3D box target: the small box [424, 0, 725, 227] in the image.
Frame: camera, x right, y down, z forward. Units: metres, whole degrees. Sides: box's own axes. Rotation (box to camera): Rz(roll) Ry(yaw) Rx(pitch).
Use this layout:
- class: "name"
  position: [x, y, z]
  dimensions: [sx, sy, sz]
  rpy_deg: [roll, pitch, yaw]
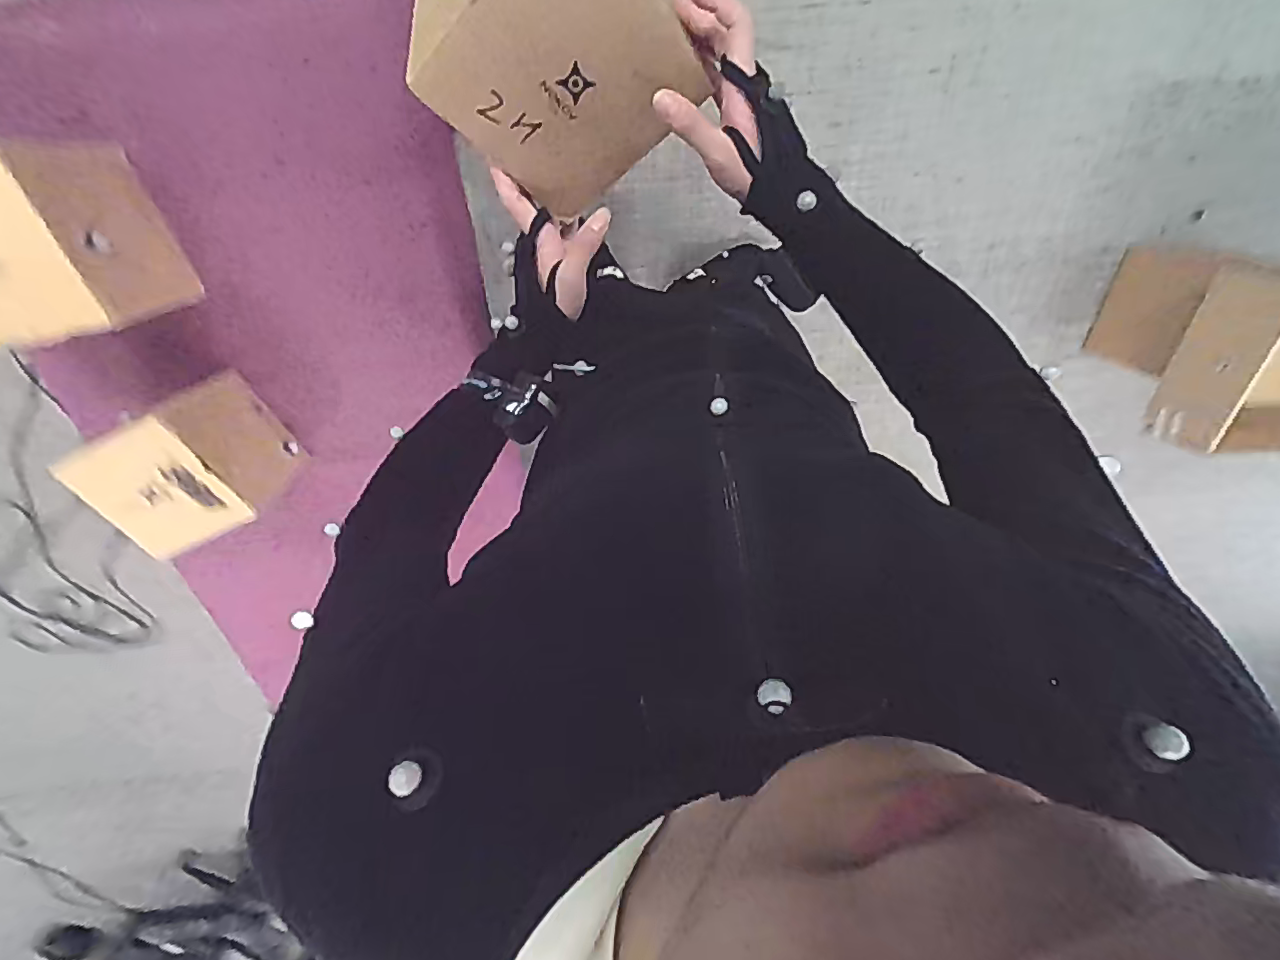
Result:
- class: "small box"
  position: [-0.057, -0.367, 0.450]
  dimensions: [0.179, 0.176, 0.168]
  rpy_deg: [-26, 147, 30]

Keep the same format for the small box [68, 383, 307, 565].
- class: "small box"
  position: [-0.621, -0.015, 0.777]
  dimensions: [0.179, 0.176, 0.168]
  rpy_deg: [-23, 120, 10]

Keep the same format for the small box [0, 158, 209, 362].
- class: "small box"
  position: [-0.671, -0.260, 0.628]
  dimensions: [0.168, 0.176, 0.179]
  rpy_deg: [-11, 122, 2]
